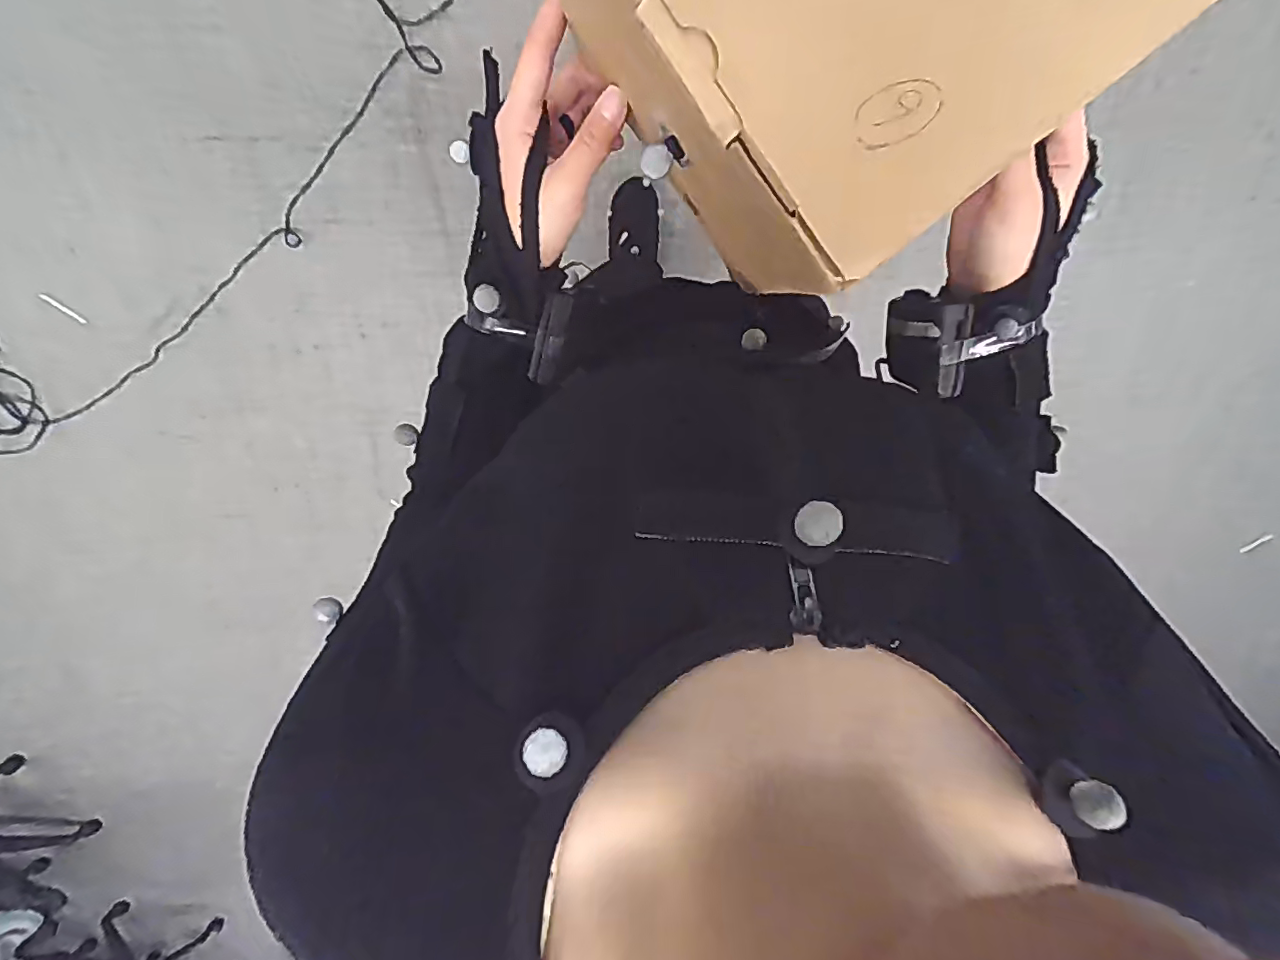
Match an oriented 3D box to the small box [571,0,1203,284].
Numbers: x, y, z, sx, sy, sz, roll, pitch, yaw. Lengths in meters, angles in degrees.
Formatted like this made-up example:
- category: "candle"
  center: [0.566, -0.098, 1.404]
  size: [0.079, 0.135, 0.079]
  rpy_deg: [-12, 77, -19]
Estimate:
- category: "small box"
  center: [0.080, -0.198, 0.218]
  size: [0.179, 0.176, 0.168]
  rpy_deg: [-37, 104, 13]
